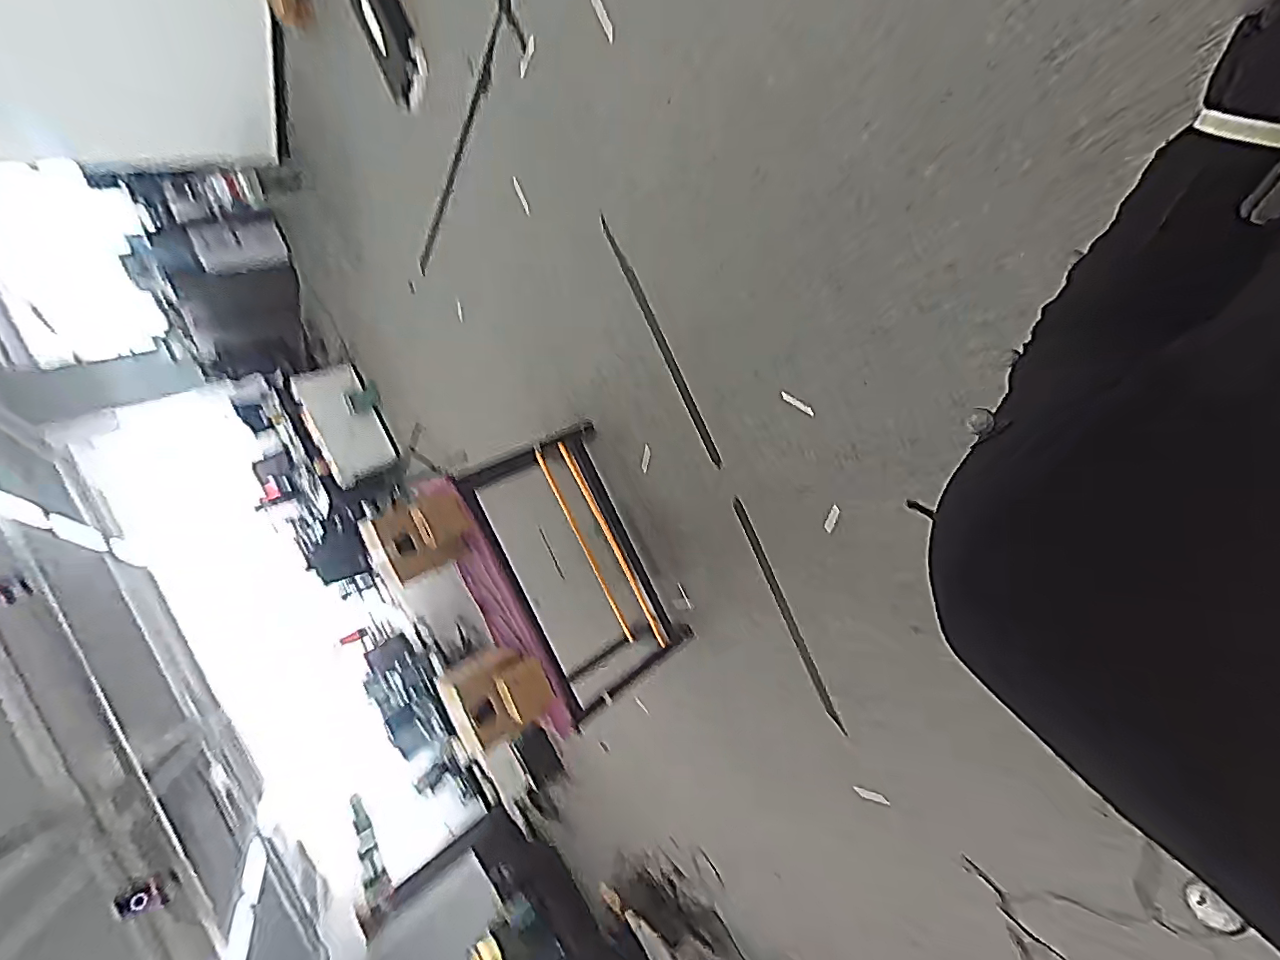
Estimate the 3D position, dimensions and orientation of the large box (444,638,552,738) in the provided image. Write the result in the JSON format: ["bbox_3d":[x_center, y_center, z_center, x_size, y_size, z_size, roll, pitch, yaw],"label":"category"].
[{"bbox_3d":[-0.670,0.955,2.533,0.408,0.320,0.320,-23,93,54],"label":"large box"}]
